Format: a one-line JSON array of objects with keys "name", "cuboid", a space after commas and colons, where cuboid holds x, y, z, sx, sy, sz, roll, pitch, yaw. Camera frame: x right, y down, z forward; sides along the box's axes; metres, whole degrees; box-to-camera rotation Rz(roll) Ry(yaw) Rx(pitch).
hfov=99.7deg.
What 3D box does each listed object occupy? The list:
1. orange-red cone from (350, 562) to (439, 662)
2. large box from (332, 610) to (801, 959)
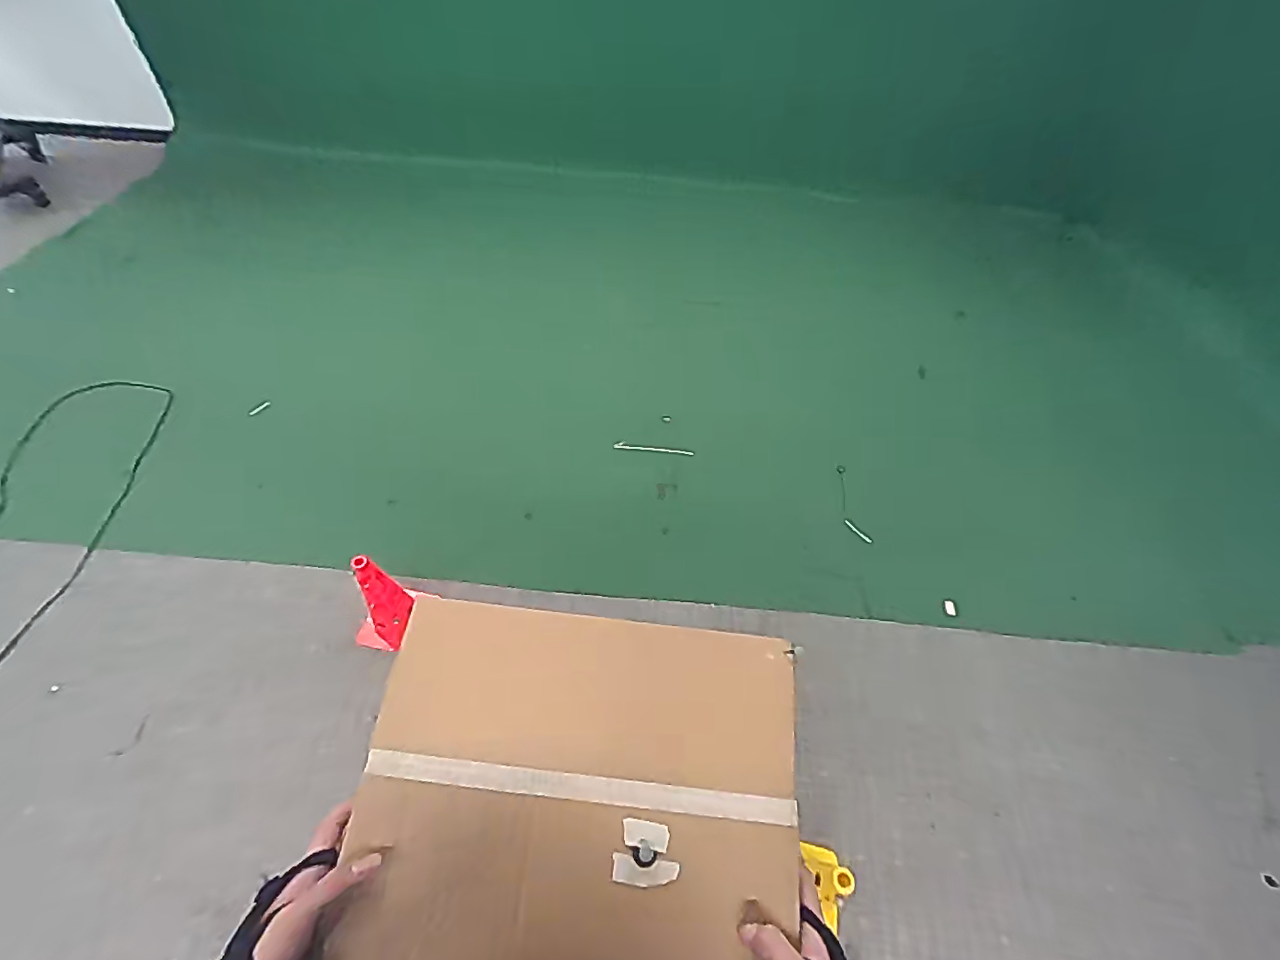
[{"name": "orange-red cone", "cuboid": [-0.738, 0.341, 1.529, 0.199, 0.360, 0.198, 10, 50, 7]}, {"name": "large box", "cuboid": [-0.057, 0.361, 0.648, 0.408, 0.320, 0.320, 6, 64, 1]}]
